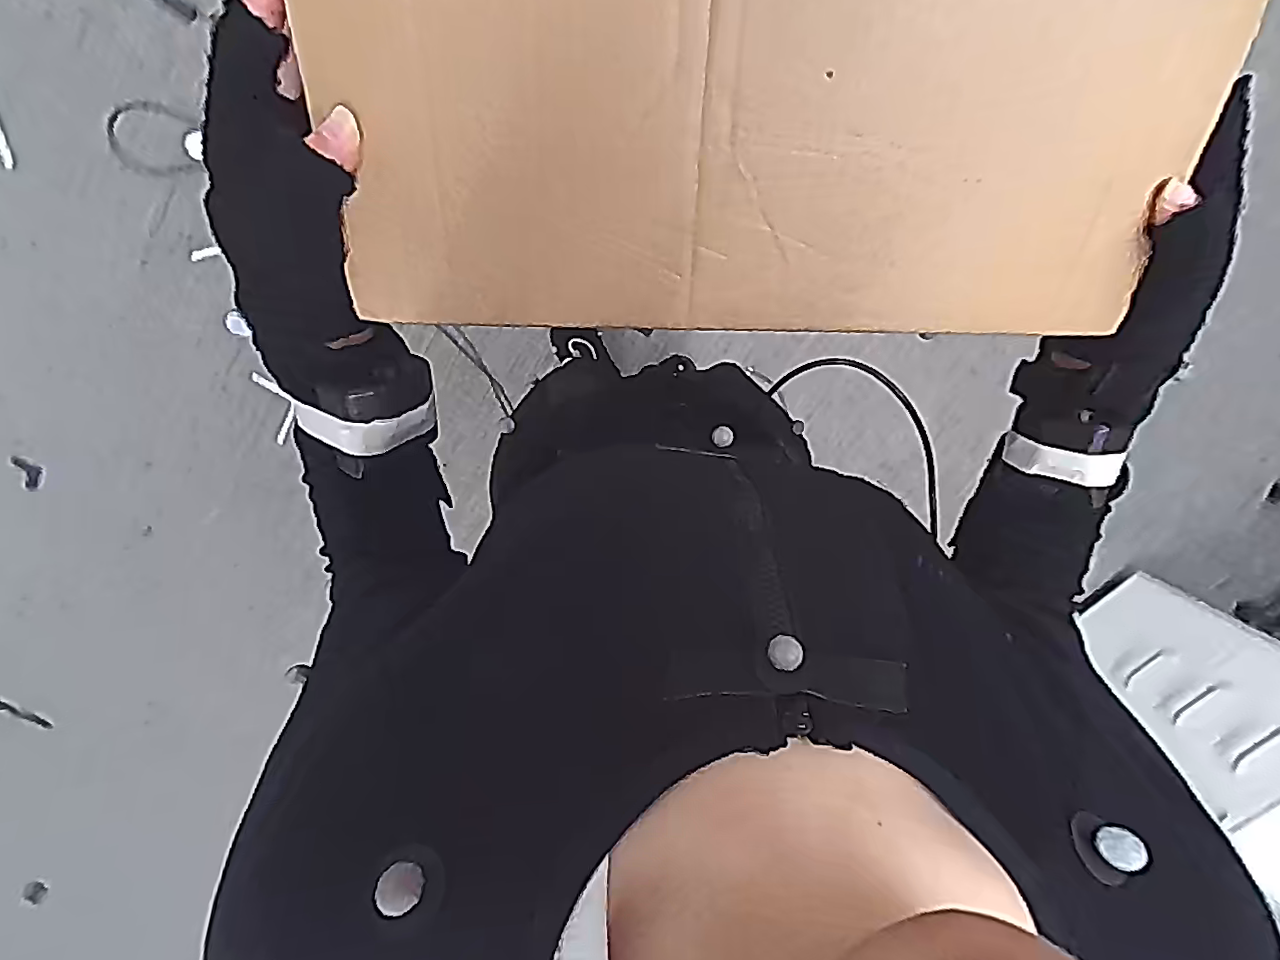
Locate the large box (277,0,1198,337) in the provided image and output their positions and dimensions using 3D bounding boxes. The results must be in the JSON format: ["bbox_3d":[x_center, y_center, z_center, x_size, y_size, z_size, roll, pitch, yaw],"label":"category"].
[{"bbox_3d":[0.042,-0.289,0.351,0.408,0.320,0.320,-2,119,-4],"label":"large box"}]
